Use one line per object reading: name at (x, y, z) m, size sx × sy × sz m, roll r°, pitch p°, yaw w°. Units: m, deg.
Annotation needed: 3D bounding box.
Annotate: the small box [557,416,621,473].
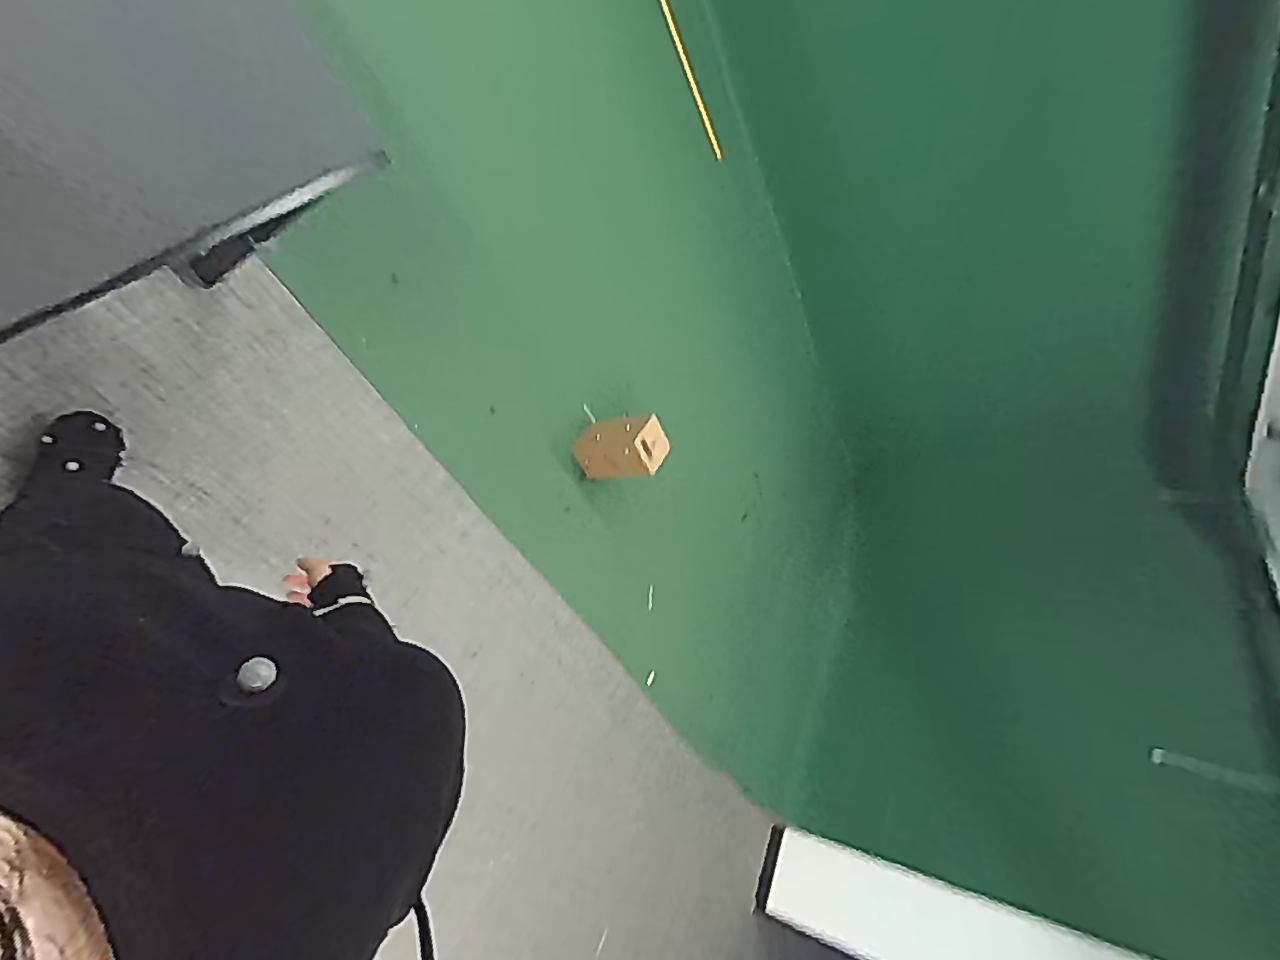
small box at (-0.210, -0.143, 2.214) m, size 0.179 × 0.176 × 0.168 m, roll -57°, pitch 132°, yaw -37°
